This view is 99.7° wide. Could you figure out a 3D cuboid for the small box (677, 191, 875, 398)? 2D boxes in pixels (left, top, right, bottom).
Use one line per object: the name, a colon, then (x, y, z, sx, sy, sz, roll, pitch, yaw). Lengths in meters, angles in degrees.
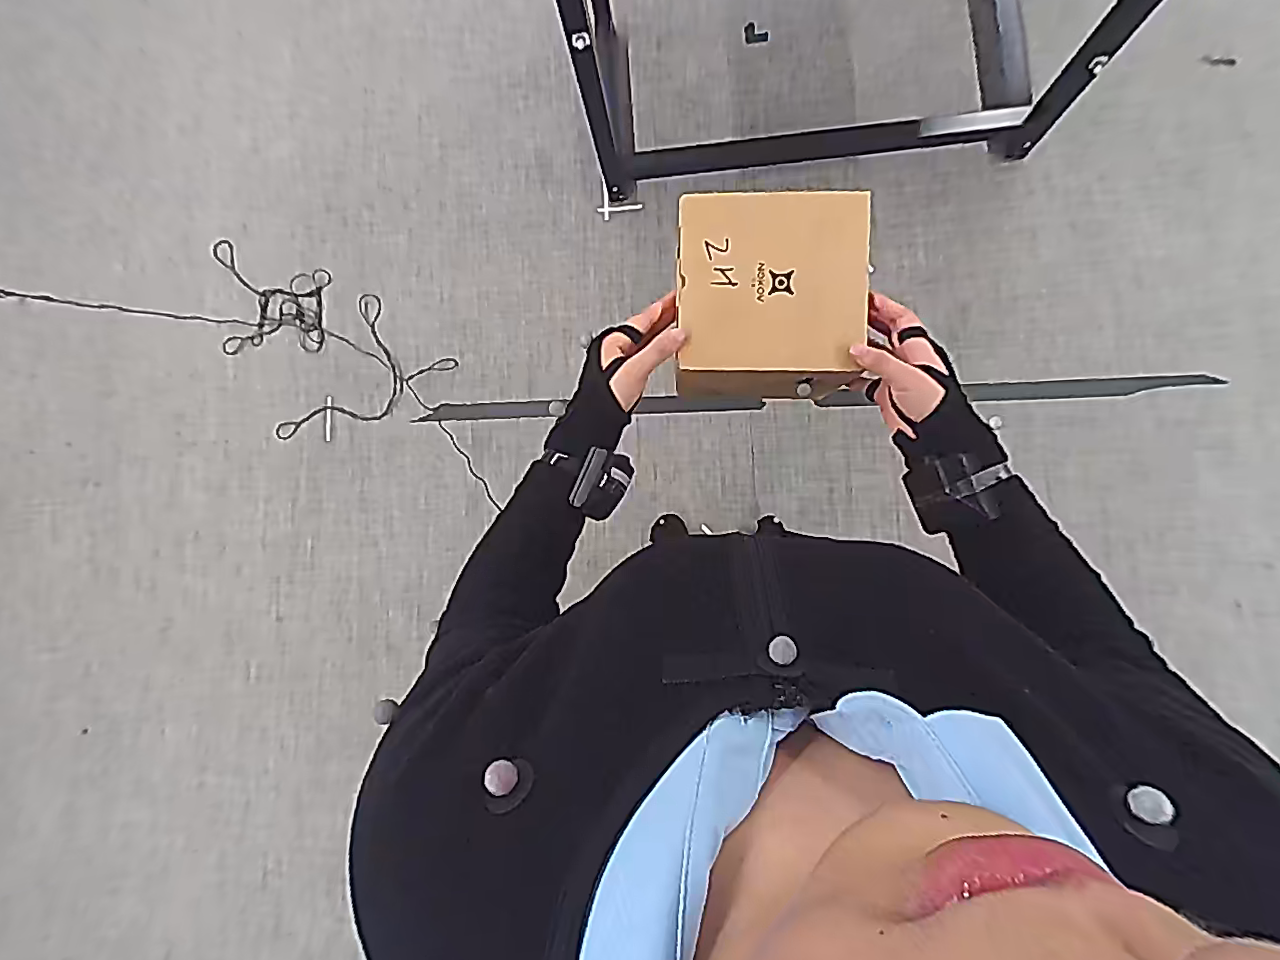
small box: (0.131, -0.183, 0.577, 0.179, 0.176, 0.168, 2, 90, 5)
